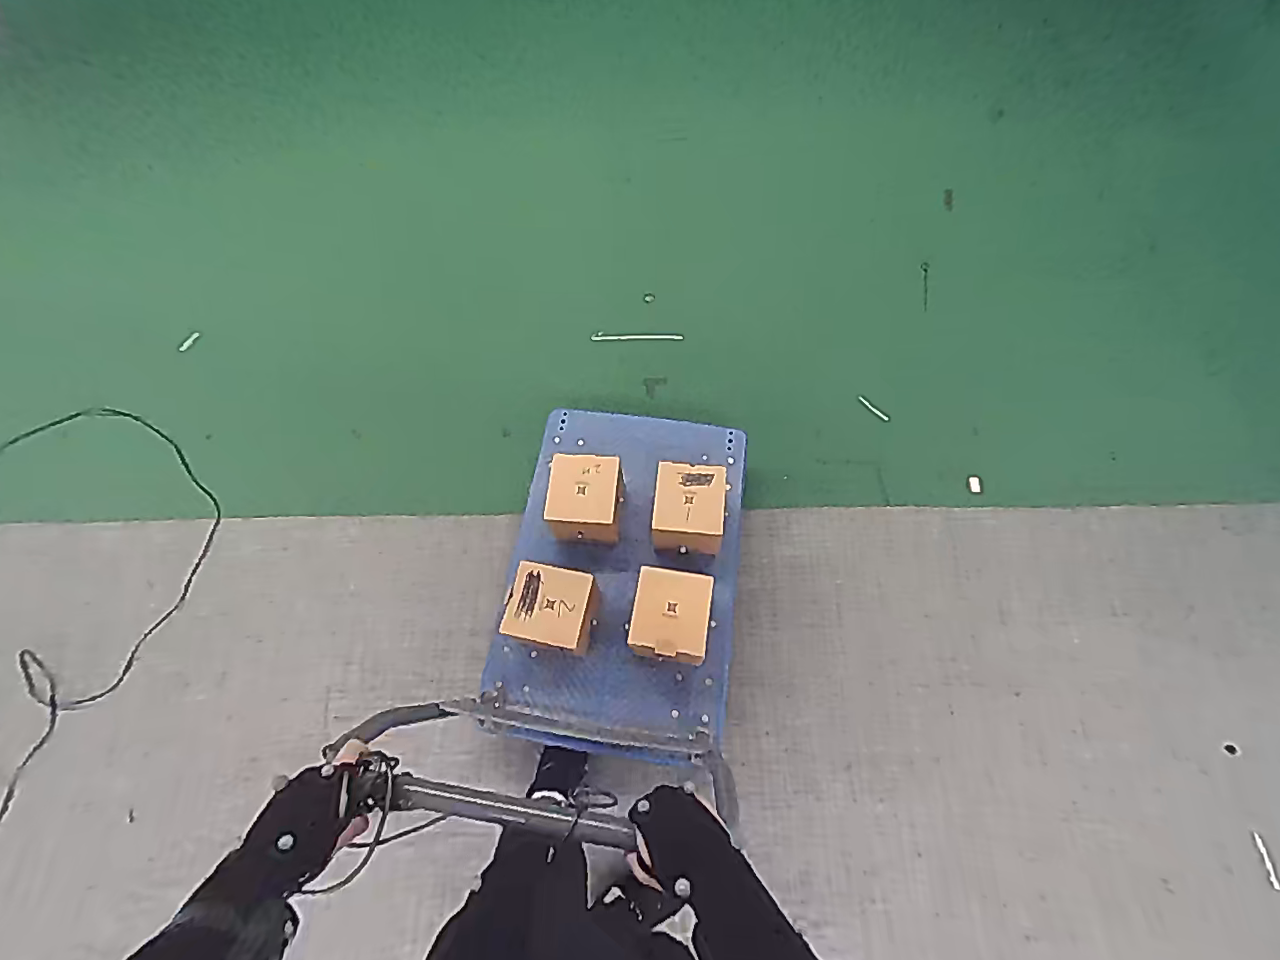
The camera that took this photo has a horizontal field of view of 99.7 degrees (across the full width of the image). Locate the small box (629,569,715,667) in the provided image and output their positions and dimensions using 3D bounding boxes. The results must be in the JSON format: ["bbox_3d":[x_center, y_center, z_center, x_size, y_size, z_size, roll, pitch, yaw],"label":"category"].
[{"bbox_3d":[0.073,0.320,1.238,0.168,0.176,0.179,8,67,7],"label":"small box"}]

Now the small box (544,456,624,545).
[{"bbox_3d":[-0.133,0.058,1.363,0.168,0.176,0.179,4,67,4],"label":"small box"}]

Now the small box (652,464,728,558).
[{"bbox_3d":[0.122,0.079,1.340,0.168,0.176,0.179,5,67,6],"label":"small box"}]
